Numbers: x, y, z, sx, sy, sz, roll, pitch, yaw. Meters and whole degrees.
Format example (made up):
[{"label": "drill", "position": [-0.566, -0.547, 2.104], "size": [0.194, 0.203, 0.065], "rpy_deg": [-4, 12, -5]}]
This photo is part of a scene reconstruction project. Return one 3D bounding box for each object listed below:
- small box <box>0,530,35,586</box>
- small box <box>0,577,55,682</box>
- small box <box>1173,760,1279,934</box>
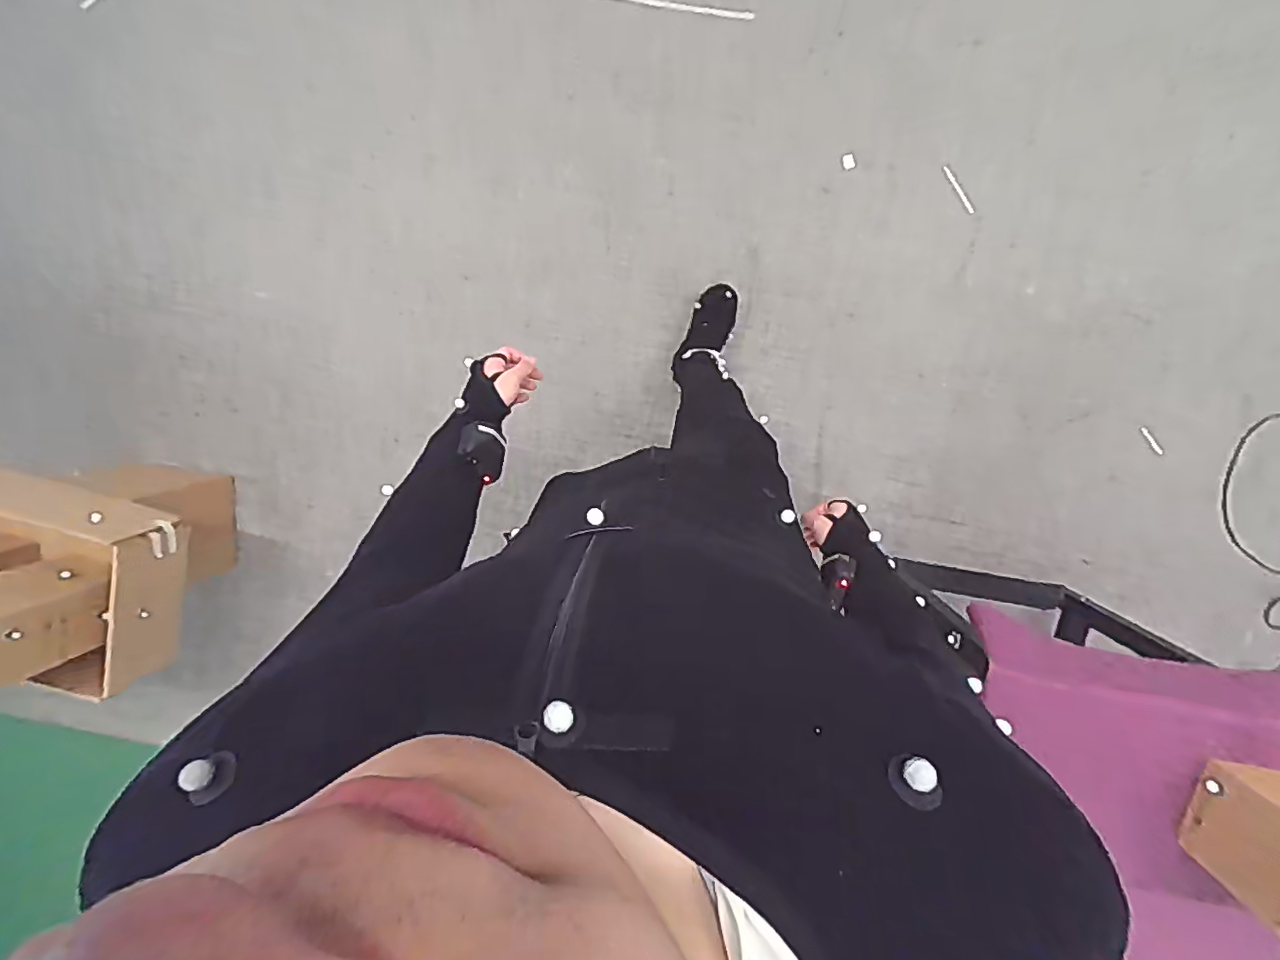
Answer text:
[{"label": "small box", "position": [-1.566, 0.208, 1.236], "size": [0.179, 0.176, 0.168], "rpy_deg": [14, 101, -1]}, {"label": "small box", "position": [-1.330, 0.304, 1.070], "size": [0.179, 0.176, 0.168], "rpy_deg": [15, 100, 1]}, {"label": "small box", "position": [0.997, 0.565, 0.832], "size": [0.179, 0.176, 0.168], "rpy_deg": [9, 101, 1]}]
